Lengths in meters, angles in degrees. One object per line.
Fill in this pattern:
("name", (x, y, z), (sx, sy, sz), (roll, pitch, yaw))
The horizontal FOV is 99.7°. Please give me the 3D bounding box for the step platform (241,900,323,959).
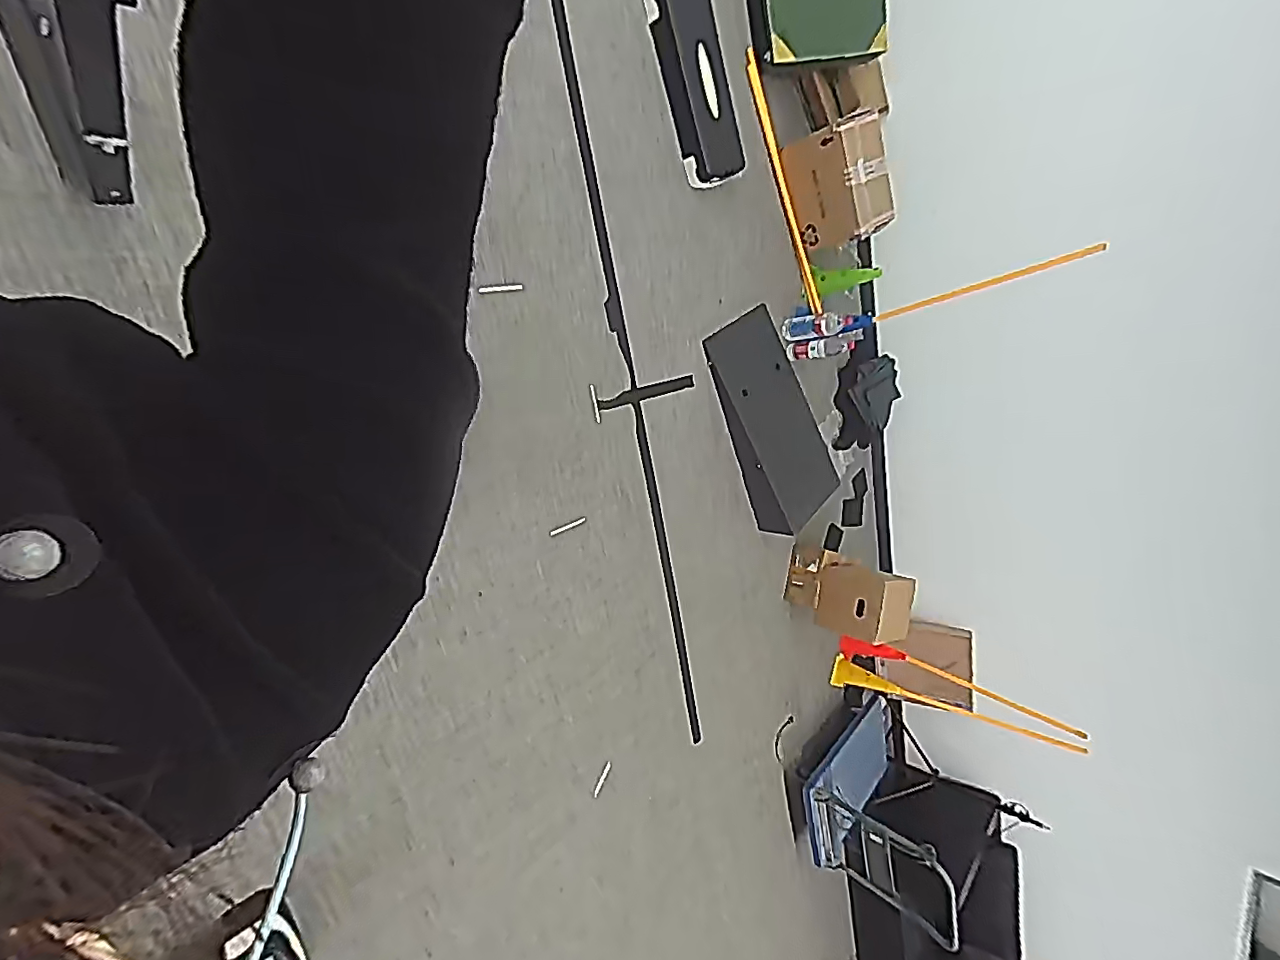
("step platform", (-1.027, 1.238, 1.099), (0.684, 0.204, 0.286), (-15, 103, -42))
